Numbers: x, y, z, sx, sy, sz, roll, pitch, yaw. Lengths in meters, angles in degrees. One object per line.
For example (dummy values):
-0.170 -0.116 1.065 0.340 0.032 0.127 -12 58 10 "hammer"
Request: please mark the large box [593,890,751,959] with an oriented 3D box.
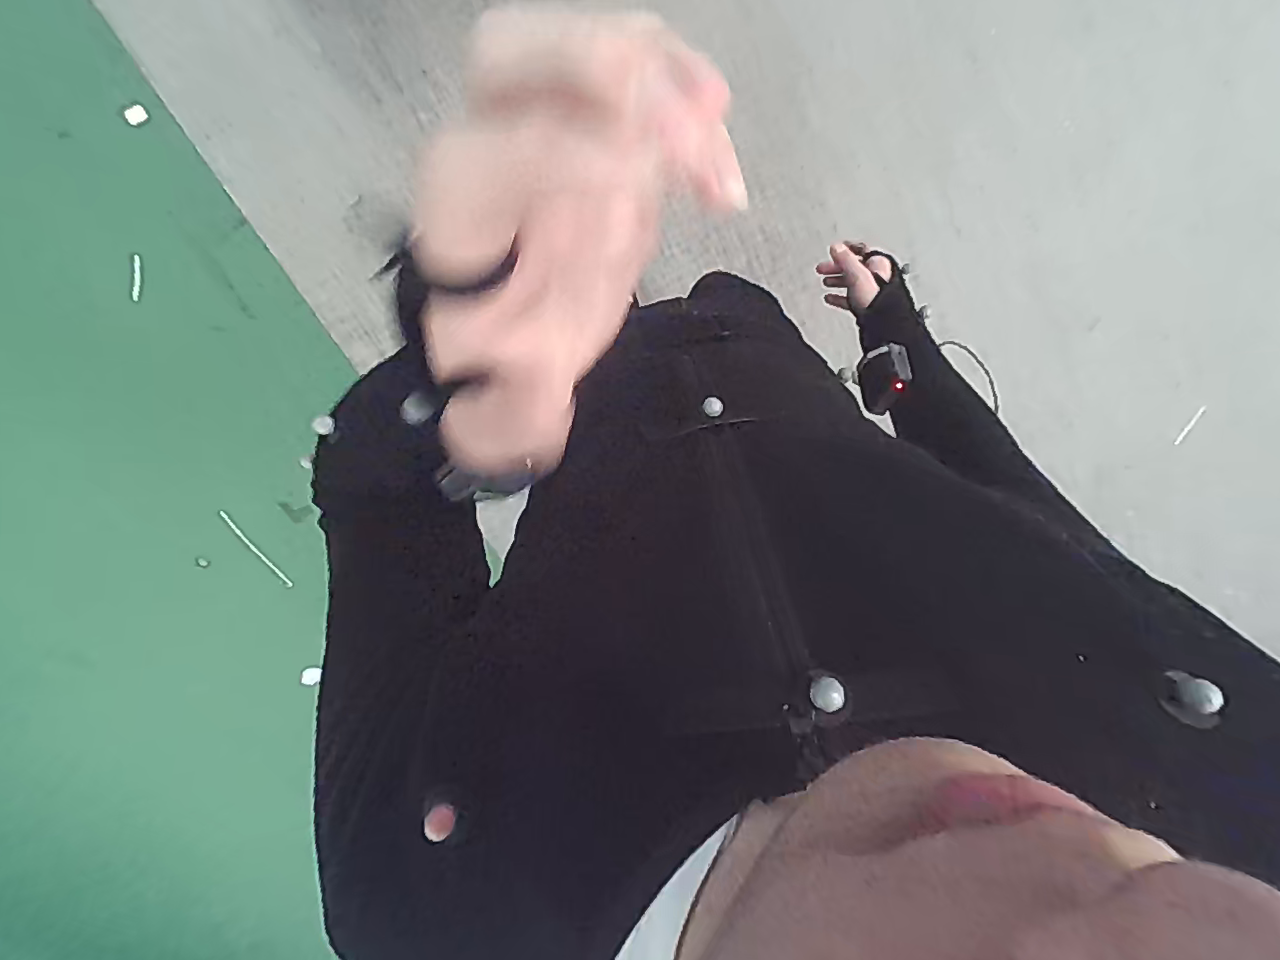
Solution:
0.107 1.339 1.360 0.320 0.320 0.408 -26 114 6 "large box"
